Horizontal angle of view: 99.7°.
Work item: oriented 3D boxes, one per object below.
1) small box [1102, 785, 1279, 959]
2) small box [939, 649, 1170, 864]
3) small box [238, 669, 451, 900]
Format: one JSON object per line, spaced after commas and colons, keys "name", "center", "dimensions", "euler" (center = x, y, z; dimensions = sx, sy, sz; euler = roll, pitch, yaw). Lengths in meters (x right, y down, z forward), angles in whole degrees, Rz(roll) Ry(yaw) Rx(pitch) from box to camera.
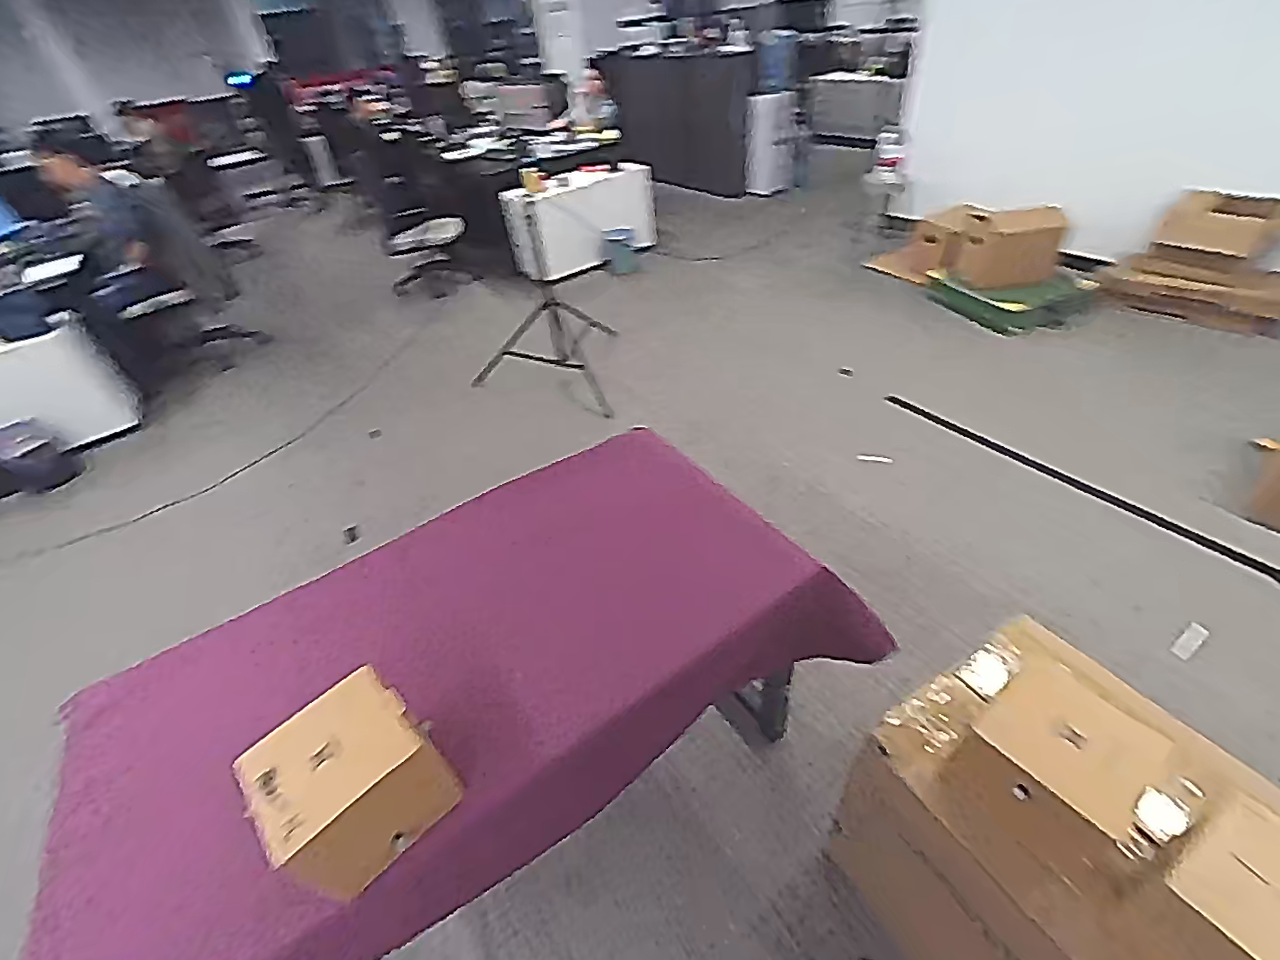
{"name": "small box", "center": [0.674, 0.489, 0.593], "dimensions": [0.168, 0.176, 0.179], "euler": [-28, 42, -20]}
{"name": "small box", "center": [0.550, 0.378, 0.744], "dimensions": [0.168, 0.176, 0.179], "euler": [-32, 48, -23]}
{"name": "small box", "center": [-0.374, 0.398, 0.715], "dimensions": [0.179, 0.176, 0.168], "euler": [-36, 47, -29]}
